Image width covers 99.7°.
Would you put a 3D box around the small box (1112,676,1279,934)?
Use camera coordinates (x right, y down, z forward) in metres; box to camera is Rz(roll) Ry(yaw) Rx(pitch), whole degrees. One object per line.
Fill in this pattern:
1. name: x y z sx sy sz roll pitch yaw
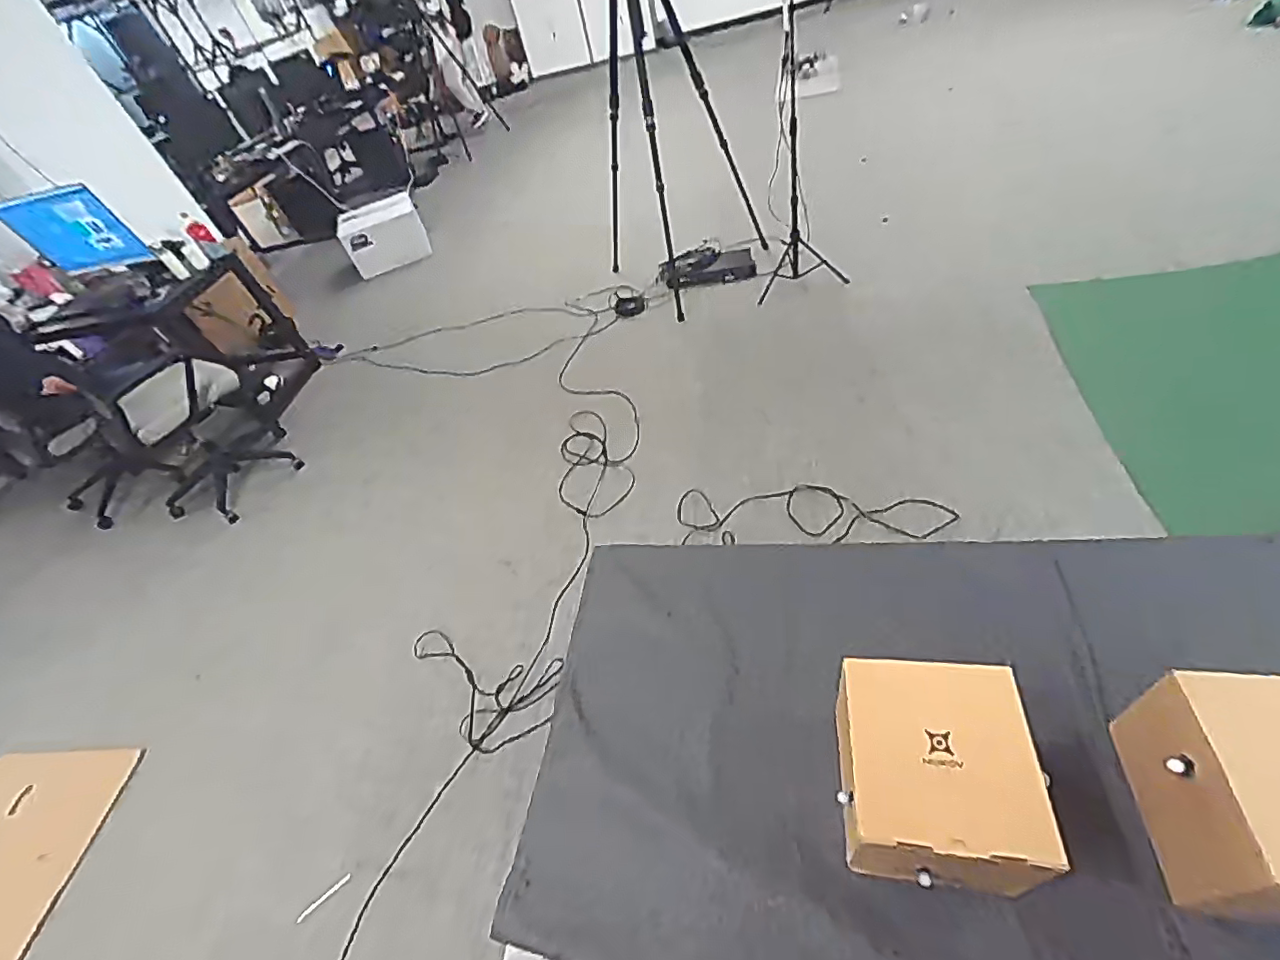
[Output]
1. small box: 0.598 0.308 0.508 0.168 0.176 0.179 -1 48 16

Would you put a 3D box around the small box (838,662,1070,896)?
1. small box: 0.310 0.320 0.584 0.168 0.176 0.179 -1 48 15
